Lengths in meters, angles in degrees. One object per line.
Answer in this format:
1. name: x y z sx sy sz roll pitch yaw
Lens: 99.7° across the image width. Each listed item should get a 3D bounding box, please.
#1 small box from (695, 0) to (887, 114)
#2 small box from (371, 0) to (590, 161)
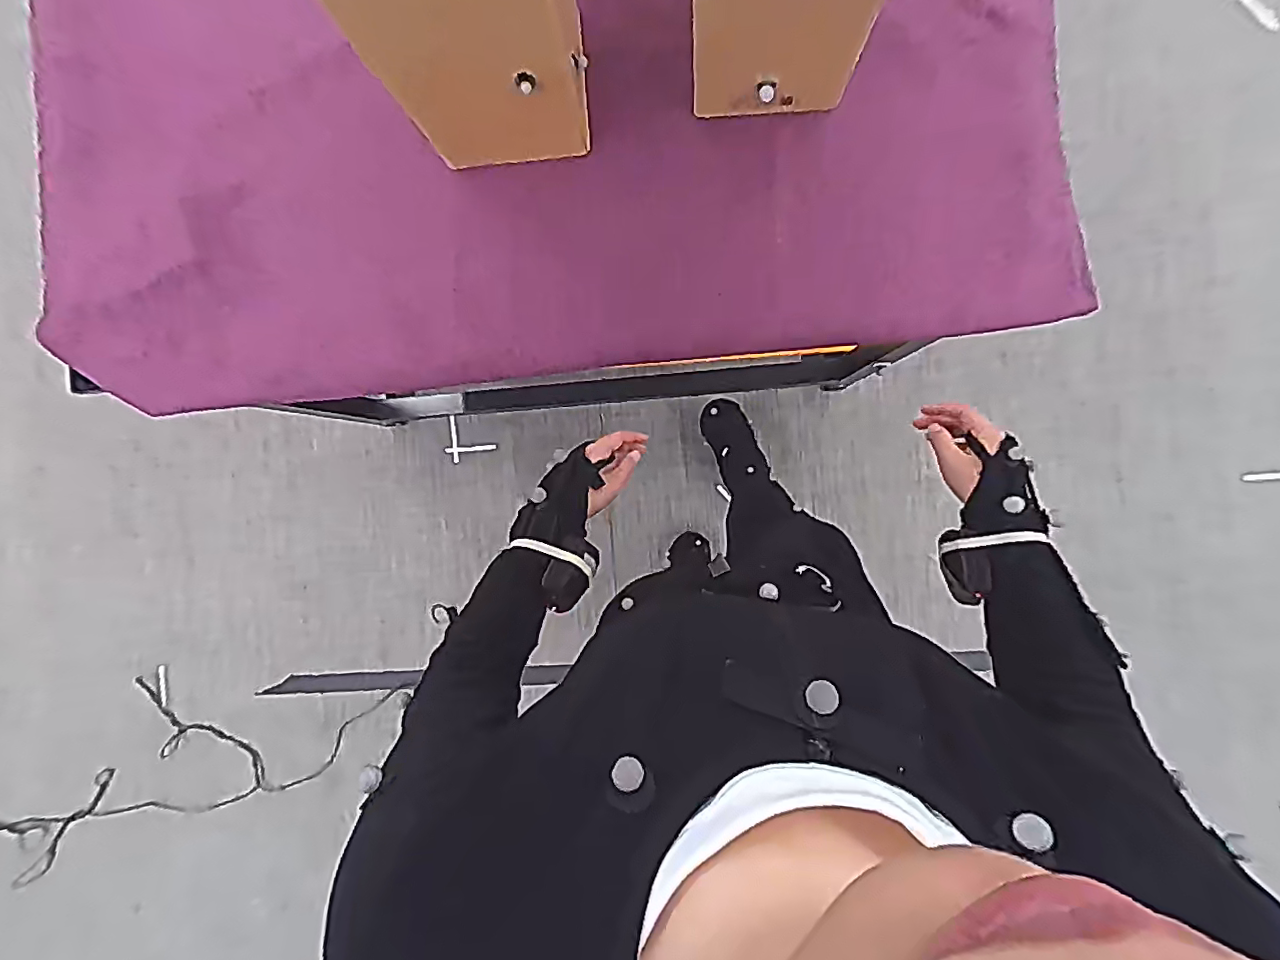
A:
1. small box: 0.142 -0.513 0.546 0.168 0.176 0.179 -1 92 4
2. small box: -0.157 -0.465 0.569 0.179 0.176 0.168 -4 91 3
